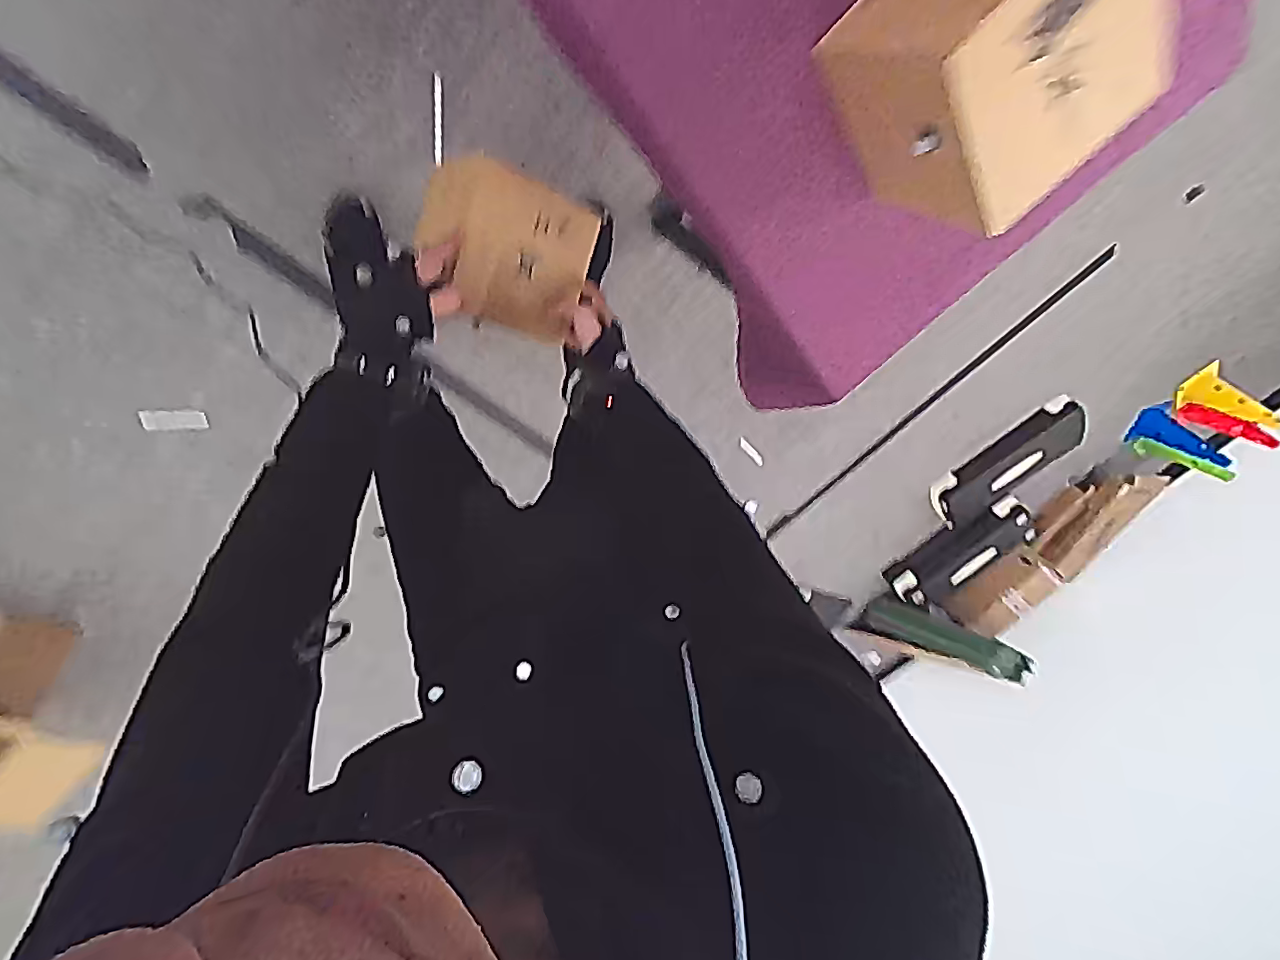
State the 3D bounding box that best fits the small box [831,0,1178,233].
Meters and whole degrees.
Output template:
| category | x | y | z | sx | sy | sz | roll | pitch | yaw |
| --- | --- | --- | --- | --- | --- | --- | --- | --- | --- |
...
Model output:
| category | x | y | z | sx | sy | sz | roll | pitch | yaw |
| --- | --- | --- | --- | --- | --- | --- | --- | --- | --- |
| small box | 0.297 | -0.355 | 0.461 | 0.168 | 0.176 | 0.179 | -42 | 133 | 14 |
